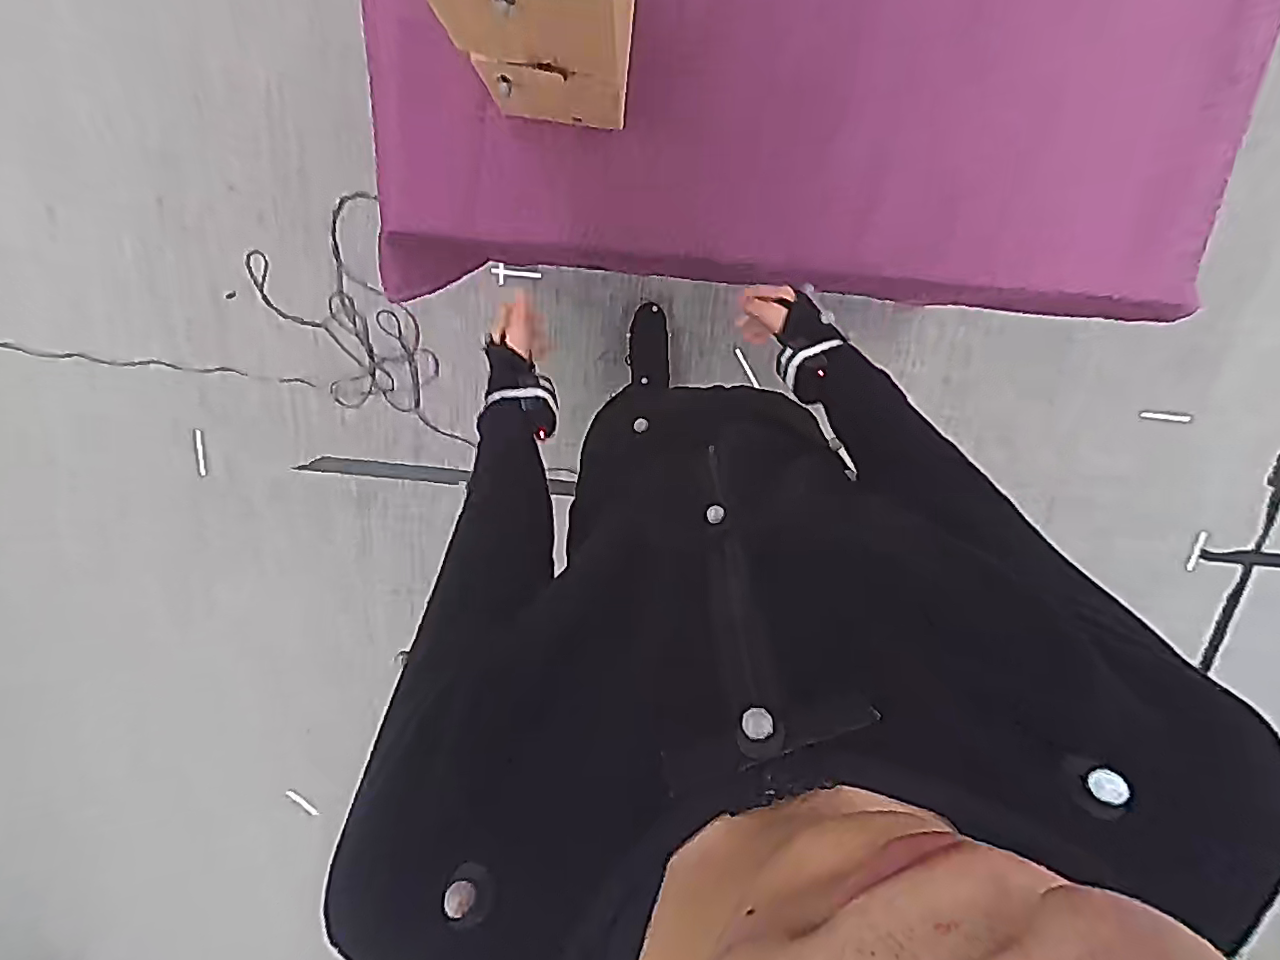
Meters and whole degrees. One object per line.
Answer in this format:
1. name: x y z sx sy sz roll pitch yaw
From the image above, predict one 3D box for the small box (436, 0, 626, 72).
1. small box: -0.098 -0.506 0.486 0.179 0.176 0.168 7 106 -4
